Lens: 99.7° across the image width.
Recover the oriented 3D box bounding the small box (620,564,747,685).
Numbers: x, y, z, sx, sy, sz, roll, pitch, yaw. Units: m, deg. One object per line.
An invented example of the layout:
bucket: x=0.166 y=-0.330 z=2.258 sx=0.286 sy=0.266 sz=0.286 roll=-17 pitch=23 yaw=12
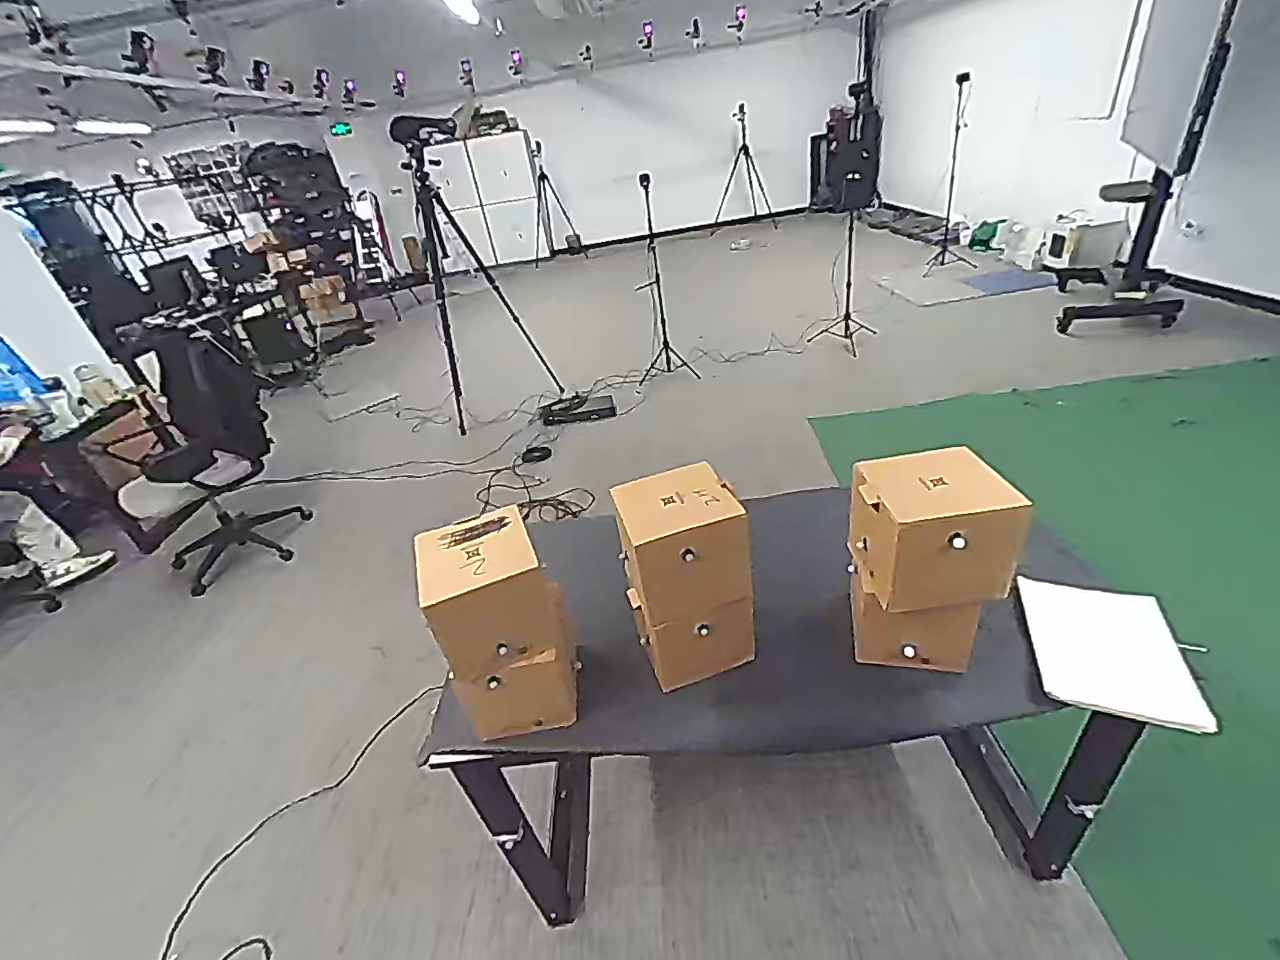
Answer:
small box: x=0.079 y=0.236 z=0.976 sx=0.179 sy=0.176 sz=0.168 roll=-17 pitch=33 yaw=-11

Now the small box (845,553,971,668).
small box: x=0.446 y=0.192 z=0.931 sx=0.168 sy=0.176 sz=0.179 roll=0 pitch=34 yaw=17

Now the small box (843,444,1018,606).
small box: x=0.424 y=0.069 z=0.823 sx=0.179 sy=0.176 sz=0.168 roll=-10 pitch=31 yaw=3

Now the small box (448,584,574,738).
small box: x=-0.212 y=0.311 z=0.940 sx=0.168 sy=0.176 sz=0.179 roll=-11 pitch=32 yaw=-1

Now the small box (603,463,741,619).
small box: x=0.053 y=0.100 z=0.885 sx=0.179 sy=0.176 sz=0.168 roll=-16 pitch=33 yaw=-8
